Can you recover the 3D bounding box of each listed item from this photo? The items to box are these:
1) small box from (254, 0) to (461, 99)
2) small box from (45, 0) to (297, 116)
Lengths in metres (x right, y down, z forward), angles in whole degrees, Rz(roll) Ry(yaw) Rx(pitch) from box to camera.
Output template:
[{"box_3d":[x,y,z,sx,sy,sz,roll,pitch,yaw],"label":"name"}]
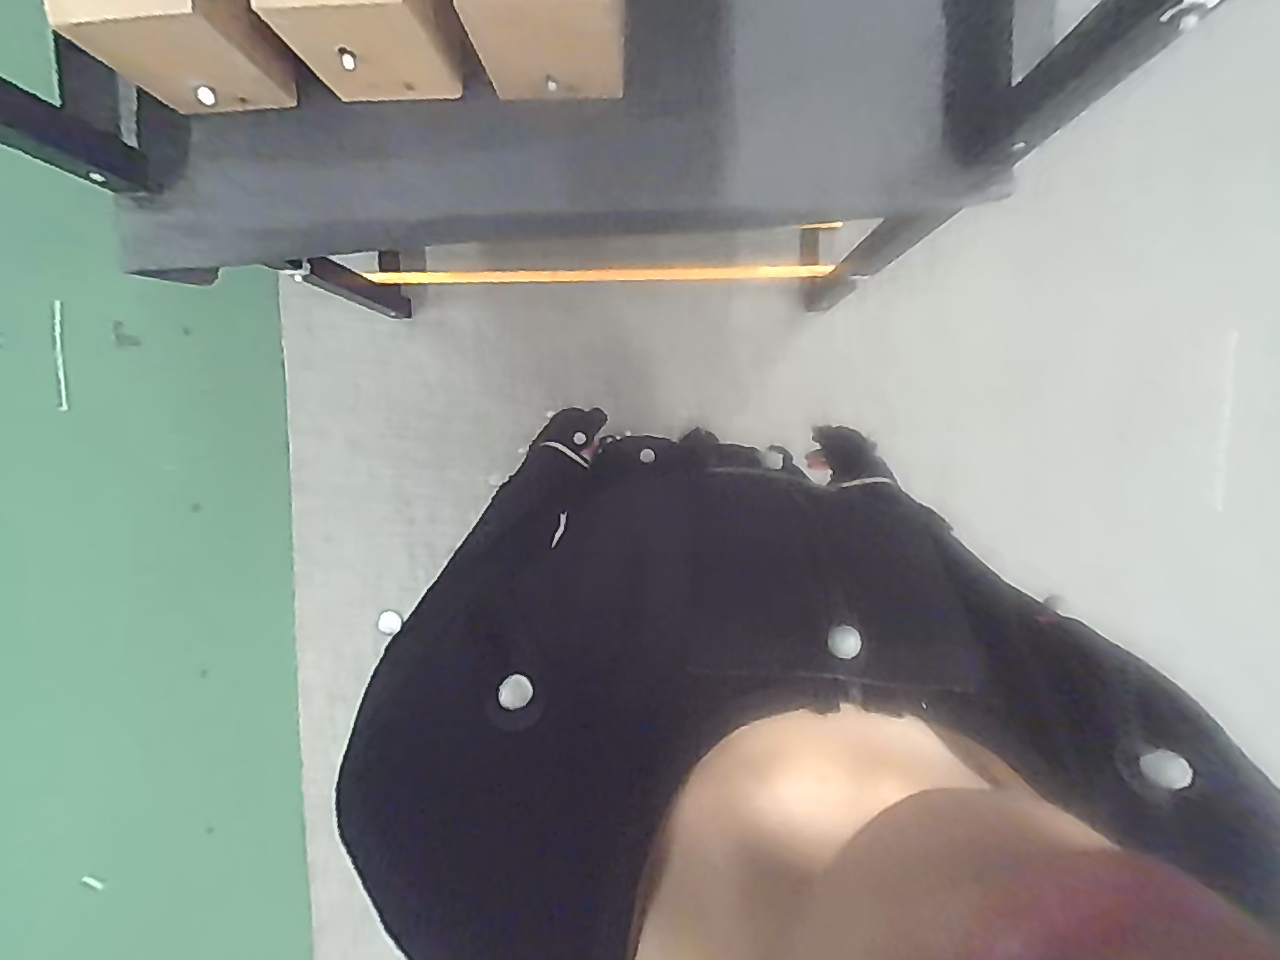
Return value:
[{"box_3d":[-0.320,-0.584,0.637,0.168,0.176,0.179,0,94,2],"label":"small box"},{"box_3d":[-0.547,-0.577,0.646,0.168,0.176,0.179,-2,95,3],"label":"small box"}]
